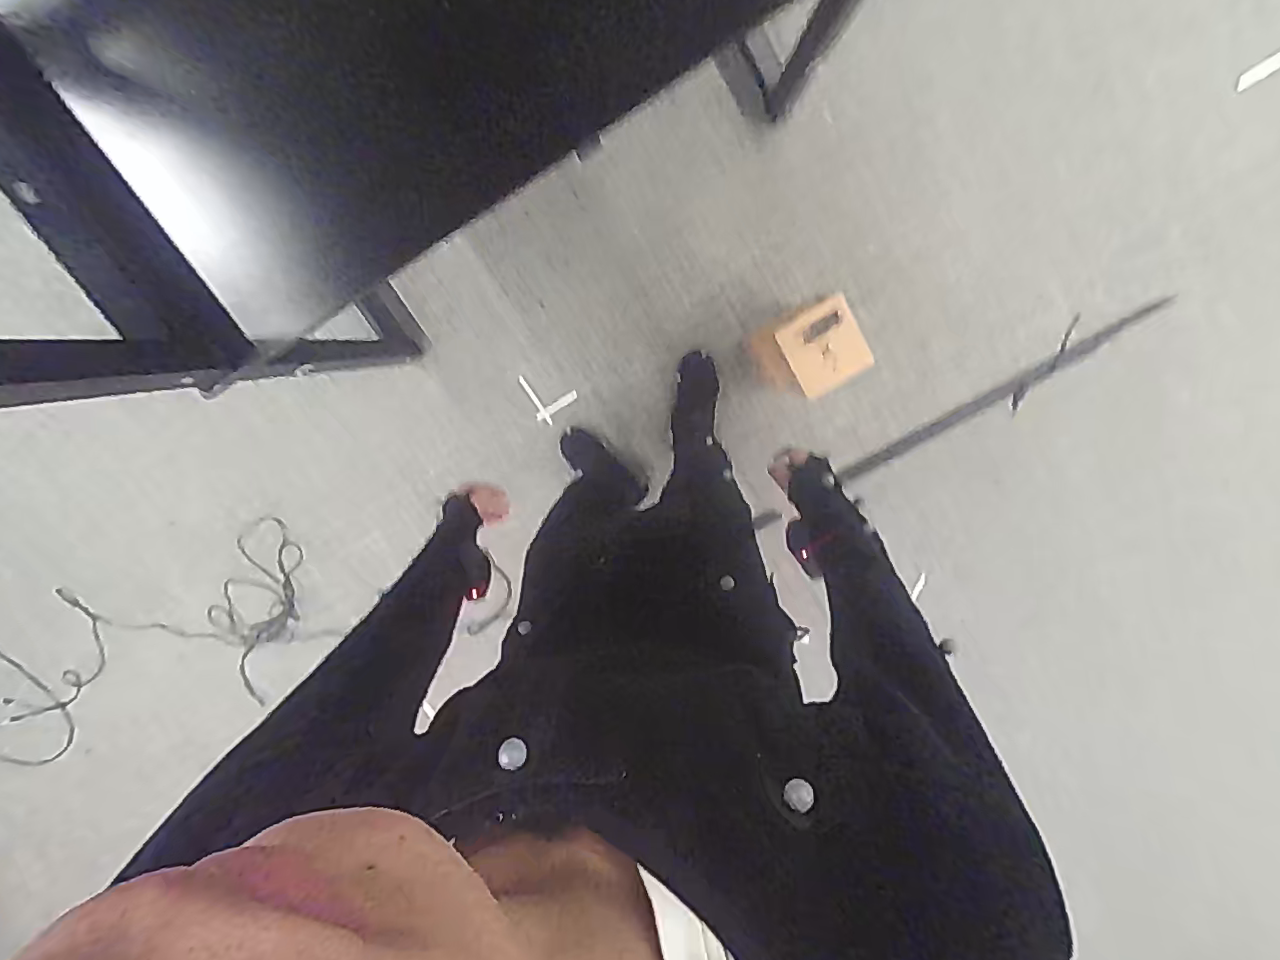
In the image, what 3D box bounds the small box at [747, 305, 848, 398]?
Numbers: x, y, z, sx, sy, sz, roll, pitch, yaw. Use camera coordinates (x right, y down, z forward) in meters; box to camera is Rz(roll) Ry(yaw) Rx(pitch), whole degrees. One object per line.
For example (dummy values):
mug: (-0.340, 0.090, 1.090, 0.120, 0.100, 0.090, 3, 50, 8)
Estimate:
small box: (0.401, -0.336, 1.409, 0.179, 0.176, 0.168, -32, 101, 9)
